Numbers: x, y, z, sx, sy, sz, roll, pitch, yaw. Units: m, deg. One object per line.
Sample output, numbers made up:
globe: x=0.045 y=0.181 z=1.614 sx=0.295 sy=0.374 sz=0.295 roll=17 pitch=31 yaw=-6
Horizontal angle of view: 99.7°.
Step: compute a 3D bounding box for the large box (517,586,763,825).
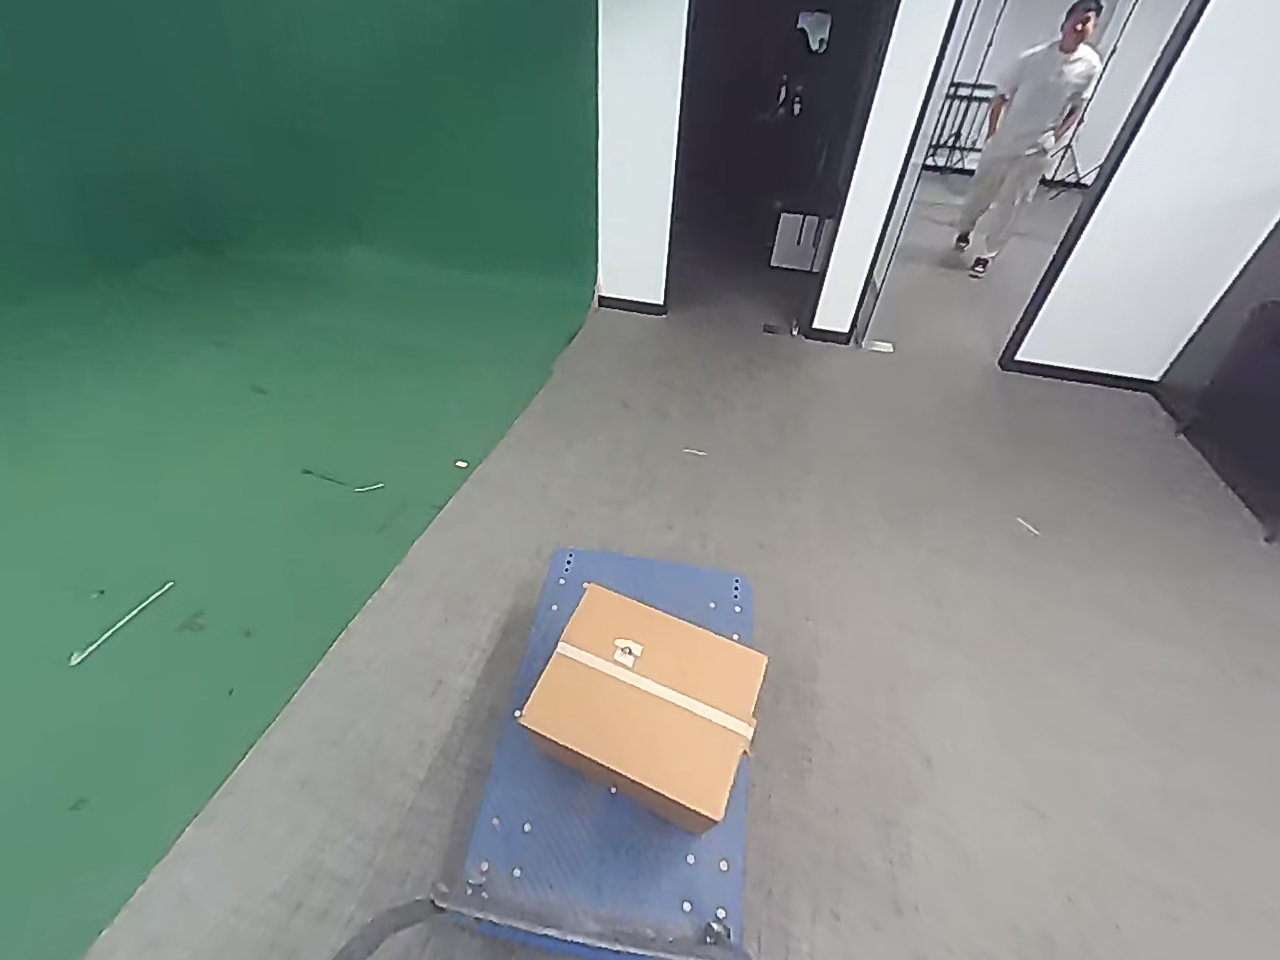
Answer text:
large box: x=0.010 y=0.491 z=1.173 sx=0.408 sy=0.320 sz=0.320 roll=20 pitch=56 yaw=14
